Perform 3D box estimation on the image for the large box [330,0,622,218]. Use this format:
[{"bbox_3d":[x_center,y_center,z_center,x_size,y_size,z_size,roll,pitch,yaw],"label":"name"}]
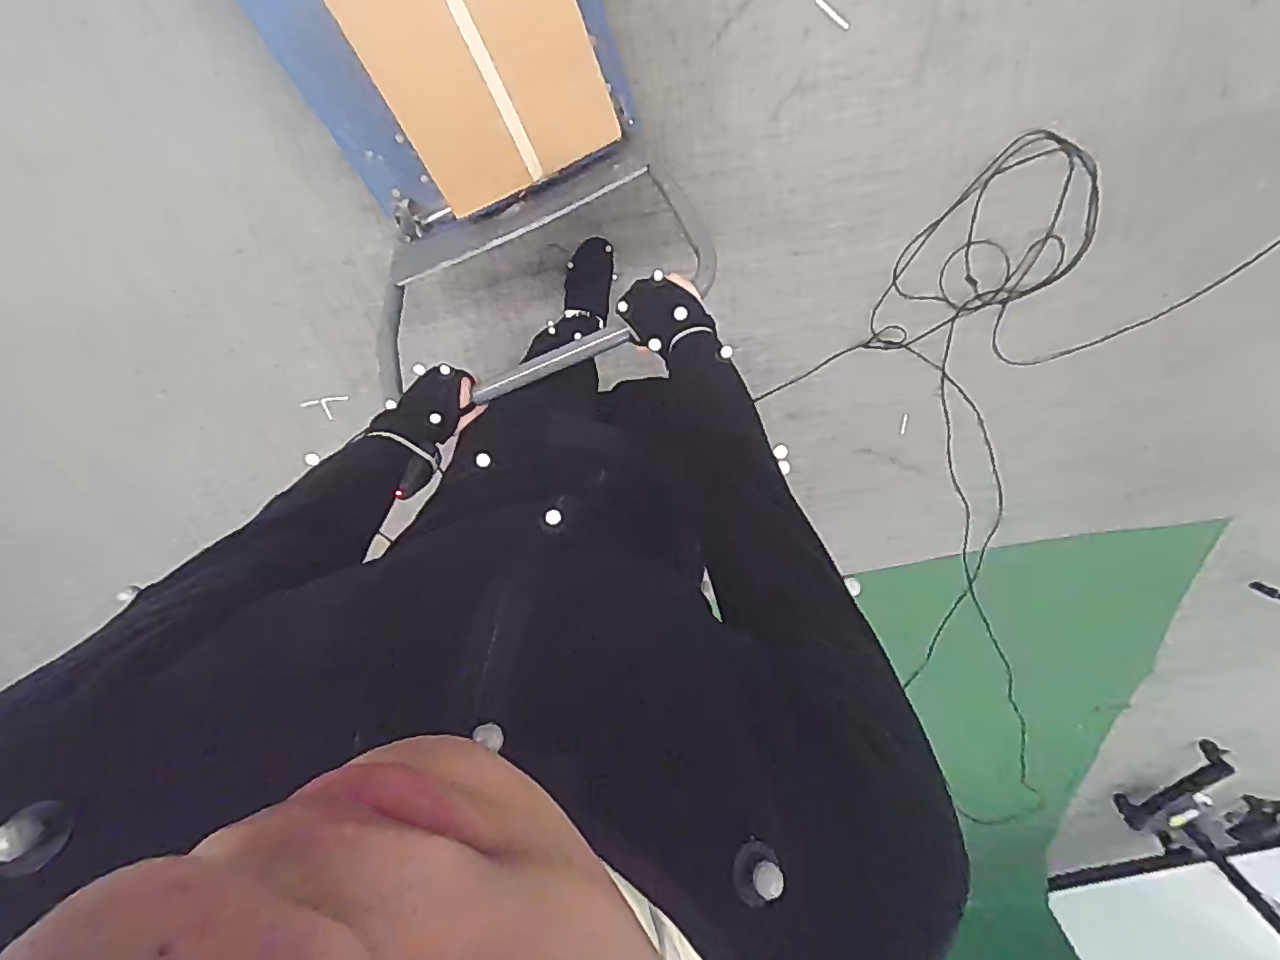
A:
[{"bbox_3d":[-0.264,-0.736,0.898,0.320,0.320,0.408,-23,134,7],"label":"large box"}]
